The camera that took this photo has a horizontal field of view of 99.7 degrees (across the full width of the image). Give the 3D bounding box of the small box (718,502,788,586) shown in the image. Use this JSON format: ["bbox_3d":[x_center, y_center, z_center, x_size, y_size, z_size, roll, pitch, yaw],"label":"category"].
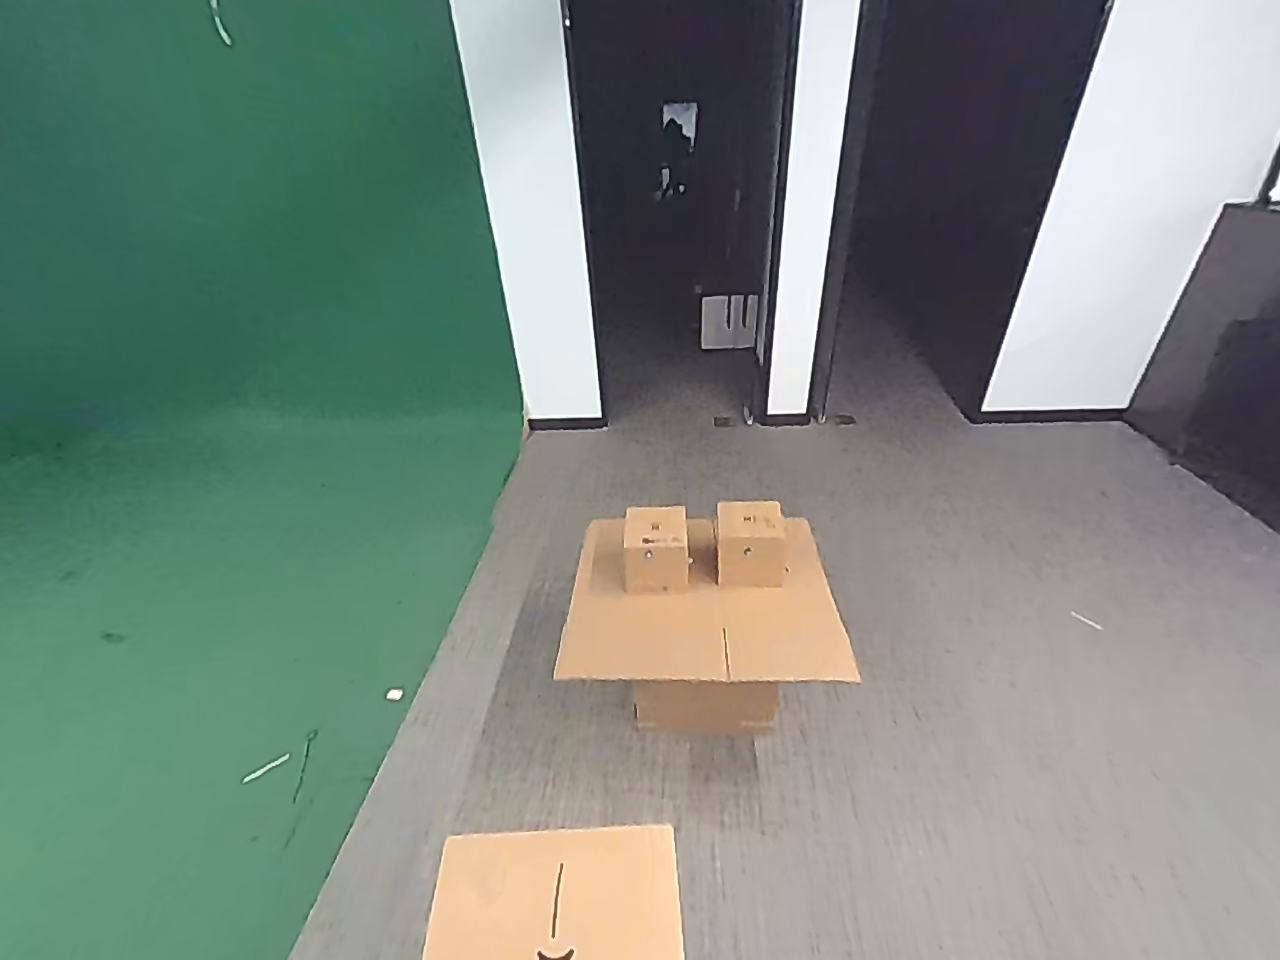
[{"bbox_3d":[0.305,0.176,1.485,0.179,0.176,0.168,-1,33,8],"label":"small box"}]

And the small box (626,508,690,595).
[{"bbox_3d":[0.052,0.195,1.482,0.168,0.176,0.179,-2,32,4],"label":"small box"}]
